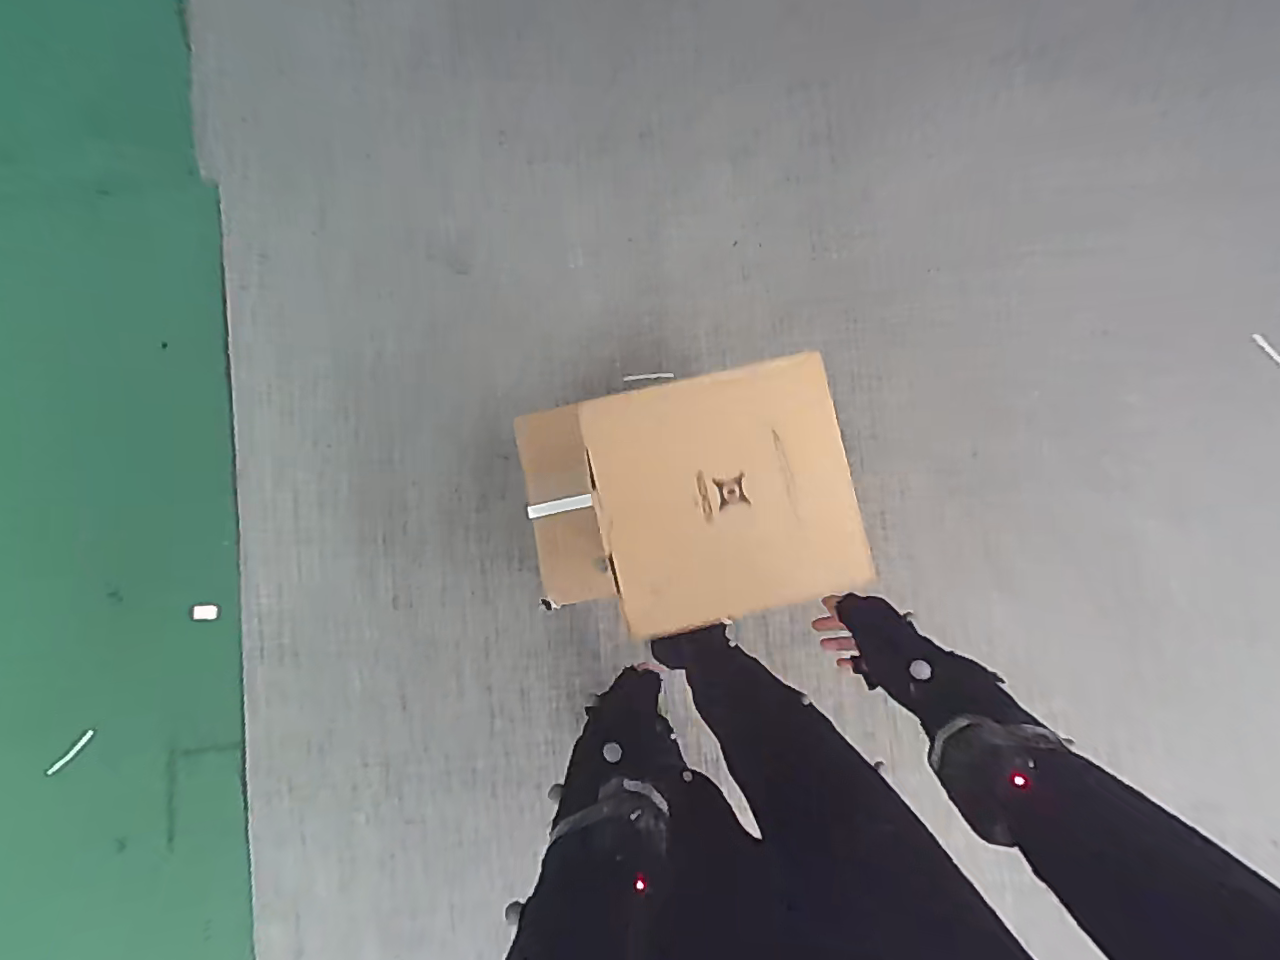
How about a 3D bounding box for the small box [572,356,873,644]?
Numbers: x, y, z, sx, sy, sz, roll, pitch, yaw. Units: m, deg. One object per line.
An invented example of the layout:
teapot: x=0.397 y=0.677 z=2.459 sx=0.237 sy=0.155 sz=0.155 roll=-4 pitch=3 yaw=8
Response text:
small box: x=0.054 y=0.016 z=0.444 sx=0.179 sy=0.176 sz=0.168 roll=-14 pitch=88 yaw=-3
